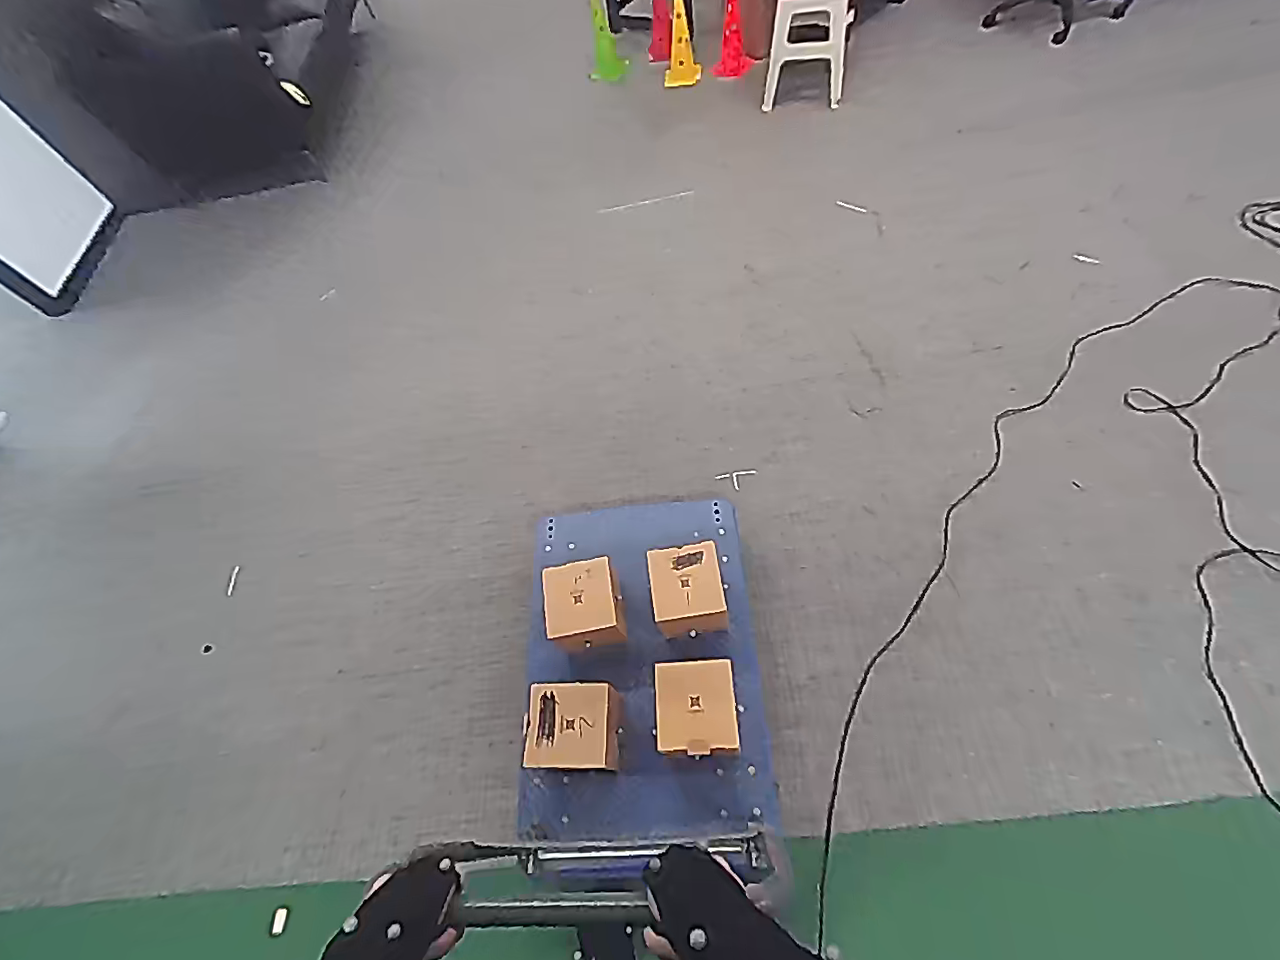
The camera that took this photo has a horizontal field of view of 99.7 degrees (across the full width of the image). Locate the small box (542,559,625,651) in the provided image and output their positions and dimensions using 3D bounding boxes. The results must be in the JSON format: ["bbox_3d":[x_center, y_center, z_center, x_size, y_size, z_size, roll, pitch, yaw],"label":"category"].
[{"bbox_3d":[-0.137,0.318,1.344,0.168,0.176,0.179,-11,59,2],"label":"small box"}]

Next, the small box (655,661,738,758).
[{"bbox_3d":[0.123,0.510,1.194,0.168,0.176,0.179,-6,60,6],"label":"small box"}]

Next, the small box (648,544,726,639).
[{"bbox_3d":[0.115,0.277,1.327,0.168,0.176,0.179,-9,60,5],"label":"small box"}]
